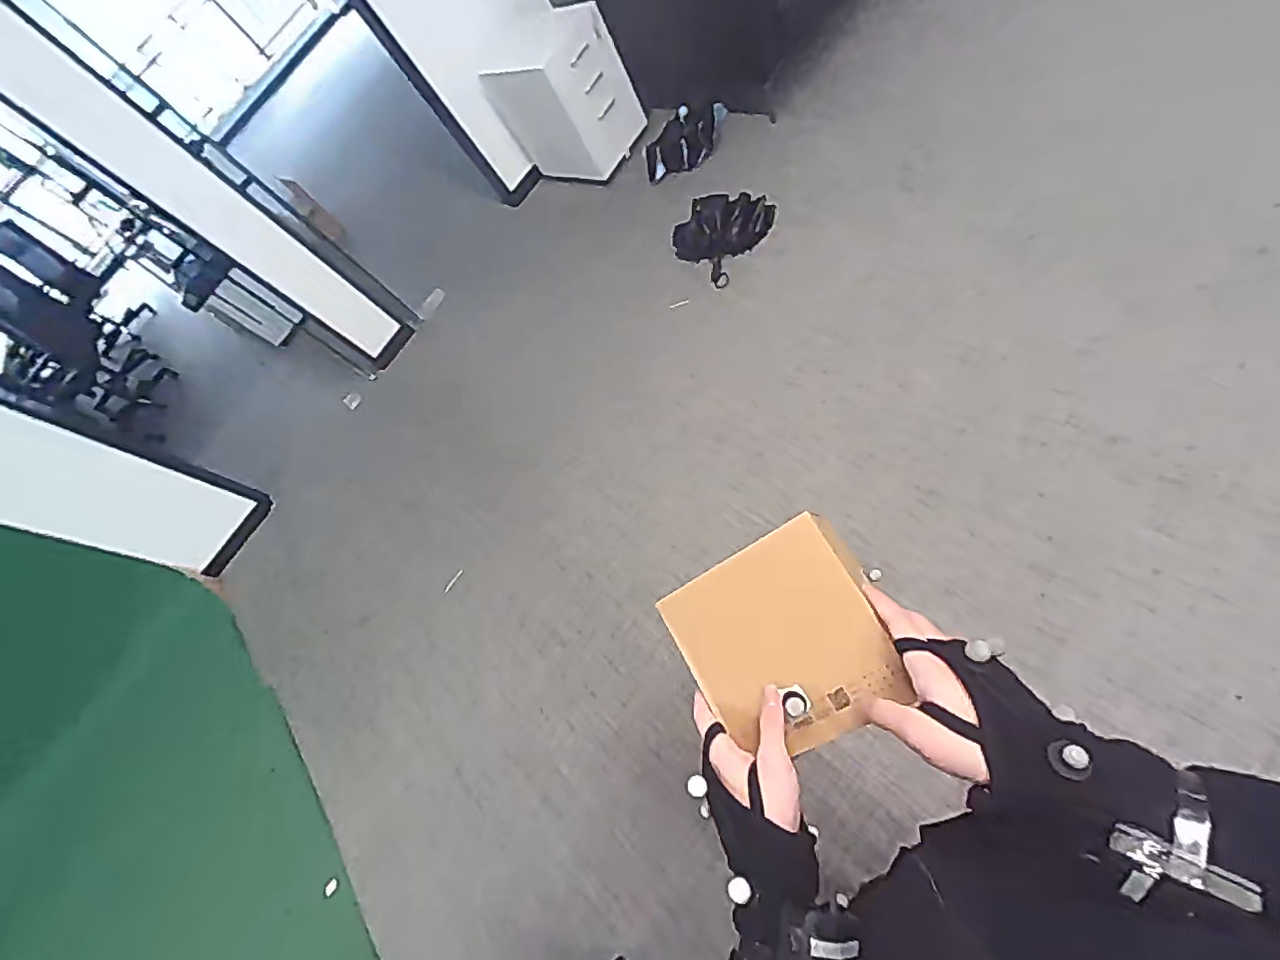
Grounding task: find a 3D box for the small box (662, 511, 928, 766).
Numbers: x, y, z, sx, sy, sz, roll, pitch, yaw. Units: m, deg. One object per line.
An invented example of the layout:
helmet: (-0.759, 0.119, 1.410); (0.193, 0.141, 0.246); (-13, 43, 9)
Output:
small box: (0.155, 0.148, 0.534); (0.168, 0.179, 0.176); (-36, 71, 16)
